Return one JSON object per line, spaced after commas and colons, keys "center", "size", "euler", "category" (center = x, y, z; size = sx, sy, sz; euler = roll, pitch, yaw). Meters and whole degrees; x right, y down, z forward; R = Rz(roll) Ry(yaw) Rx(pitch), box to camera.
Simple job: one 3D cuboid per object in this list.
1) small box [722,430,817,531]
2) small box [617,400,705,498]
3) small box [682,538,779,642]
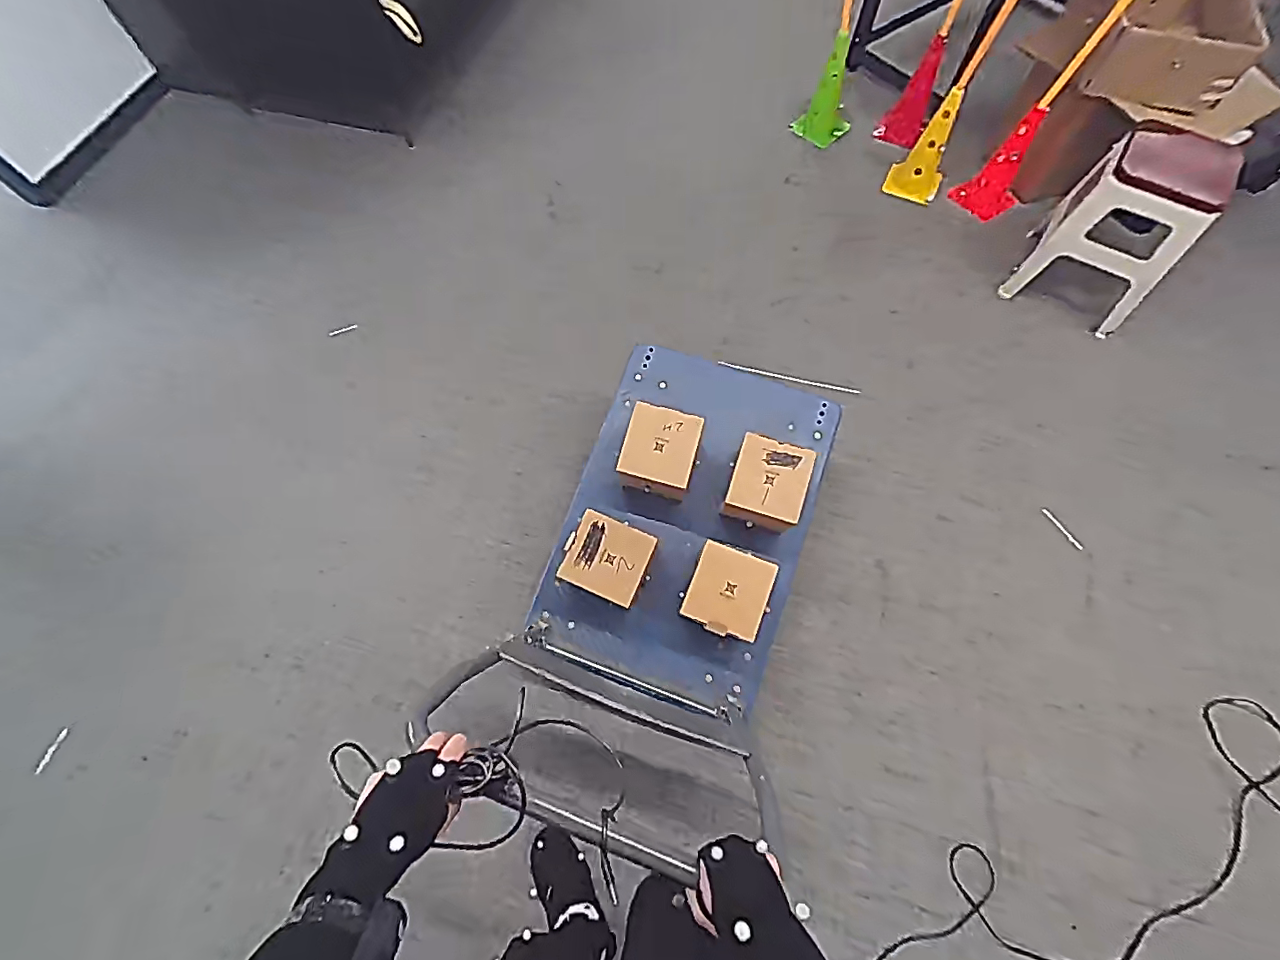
{"center": [0.297, 0.008, 1.278], "size": [0.168, 0.176, 0.179], "euler": [18, 80, 7], "category": "small box"}
{"center": [0.053, -0.068, 1.307], "size": [0.168, 0.176, 0.179], "euler": [16, 79, 6], "category": "small box"}
{"center": [0.197, 0.248, 1.232], "size": [0.168, 0.176, 0.179], "euler": [21, 80, 7], "category": "small box"}
